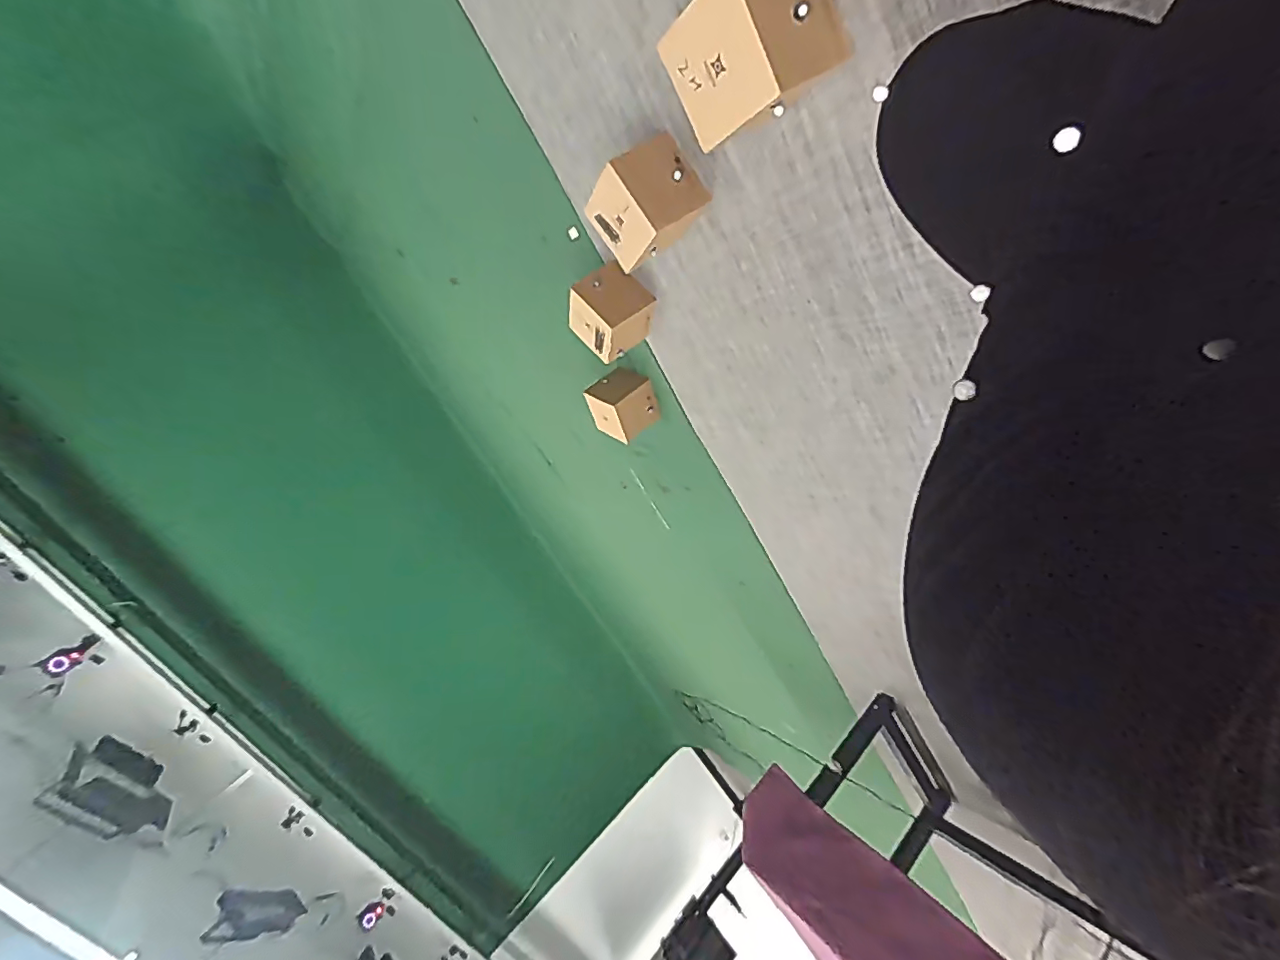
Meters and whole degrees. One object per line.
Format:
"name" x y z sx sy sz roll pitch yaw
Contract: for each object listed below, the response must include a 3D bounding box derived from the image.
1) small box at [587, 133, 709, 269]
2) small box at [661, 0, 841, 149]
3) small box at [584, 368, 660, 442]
"small box" 0.017 -0.596 1.165 0.168 0.176 0.179 54 157 -8
"small box" 0.170 -0.639 0.800 0.179 0.176 0.168 7 131 60
"small box" -0.059 -0.263 1.852 0.179 0.176 0.168 30 151 42
